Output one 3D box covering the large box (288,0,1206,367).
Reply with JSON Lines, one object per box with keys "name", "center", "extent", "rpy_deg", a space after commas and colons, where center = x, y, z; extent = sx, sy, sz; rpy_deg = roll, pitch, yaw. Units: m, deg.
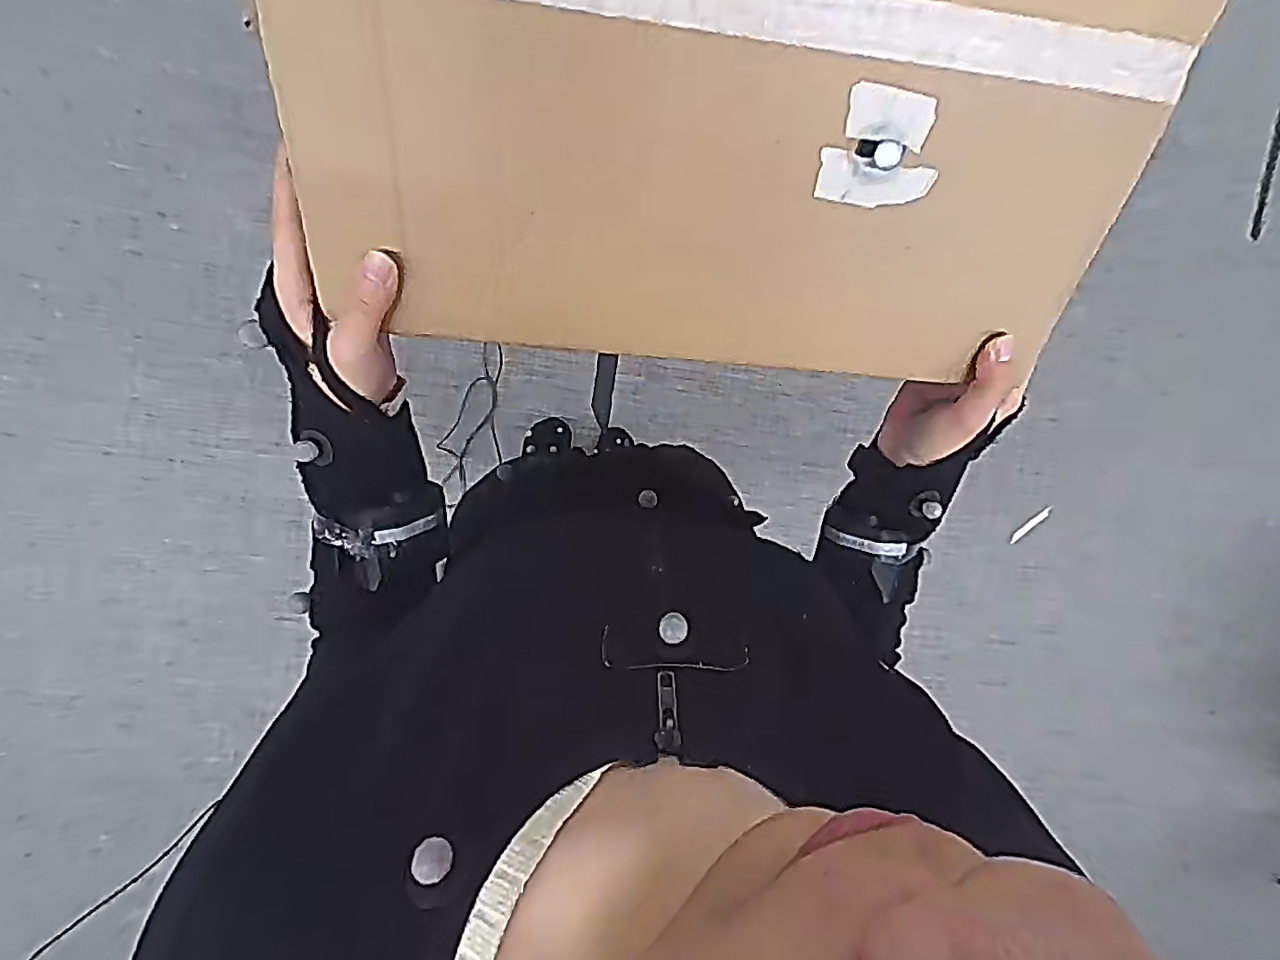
{"name": "large box", "center": [0.040, -0.284, 0.358], "extent": [0.408, 0.320, 0.320], "rpy_deg": [2, 123, -8]}
